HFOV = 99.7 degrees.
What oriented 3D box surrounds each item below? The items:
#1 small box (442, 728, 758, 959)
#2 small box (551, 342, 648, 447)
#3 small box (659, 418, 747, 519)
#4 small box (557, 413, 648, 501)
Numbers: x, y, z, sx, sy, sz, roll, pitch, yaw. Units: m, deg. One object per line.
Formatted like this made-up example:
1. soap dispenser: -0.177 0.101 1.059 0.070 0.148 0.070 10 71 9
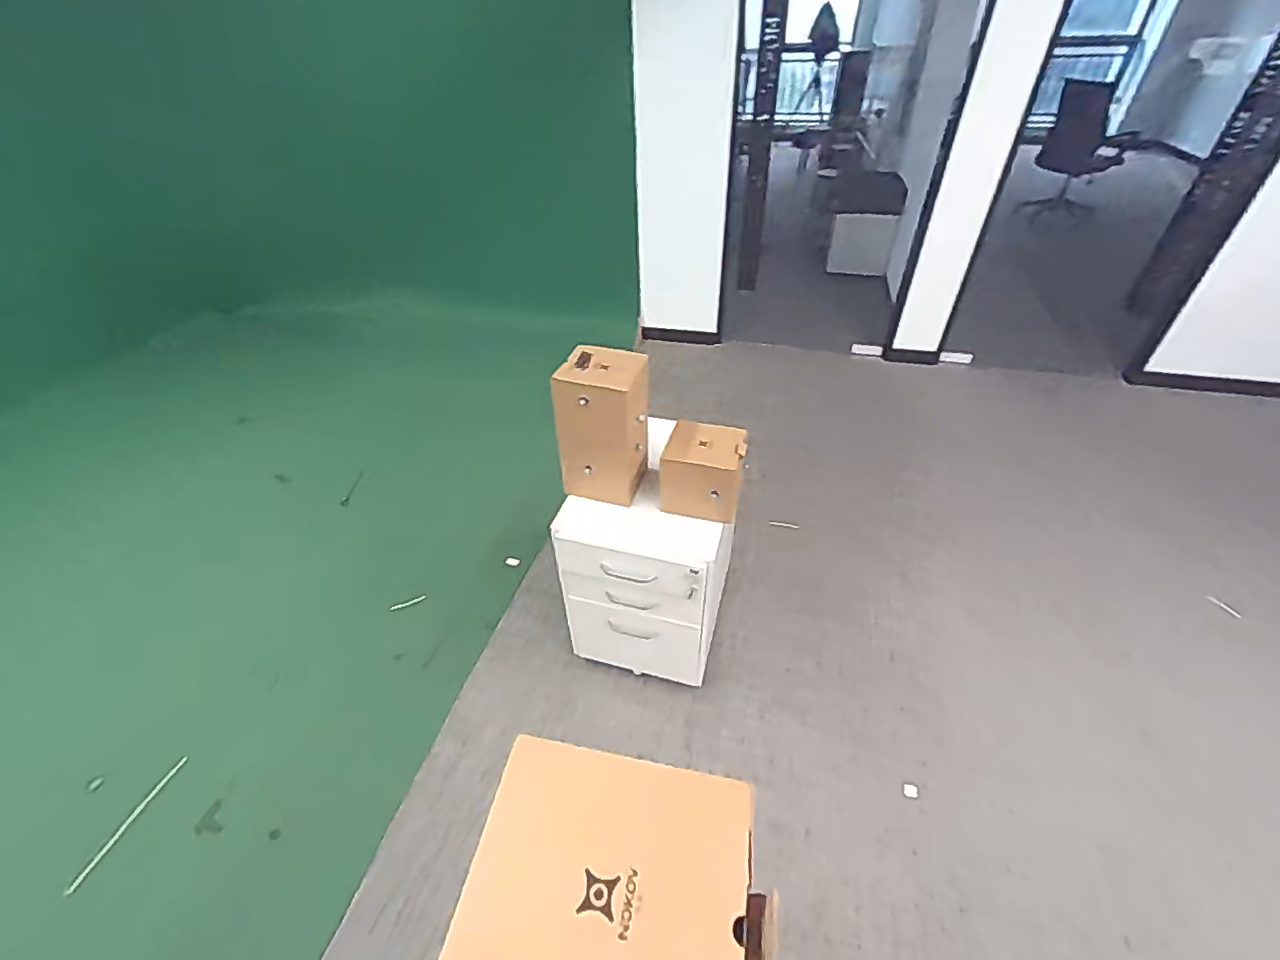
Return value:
1. small box: -0.019 0.308 0.387 0.179 0.176 0.168 9 43 6
2. small box: -0.087 -0.196 1.241 0.179 0.176 0.168 12 43 12
3. small box: 0.150 -0.026 1.294 0.179 0.176 0.168 9 41 14
4. small box: -0.086 -0.069 1.347 0.179 0.176 0.168 11 43 13
